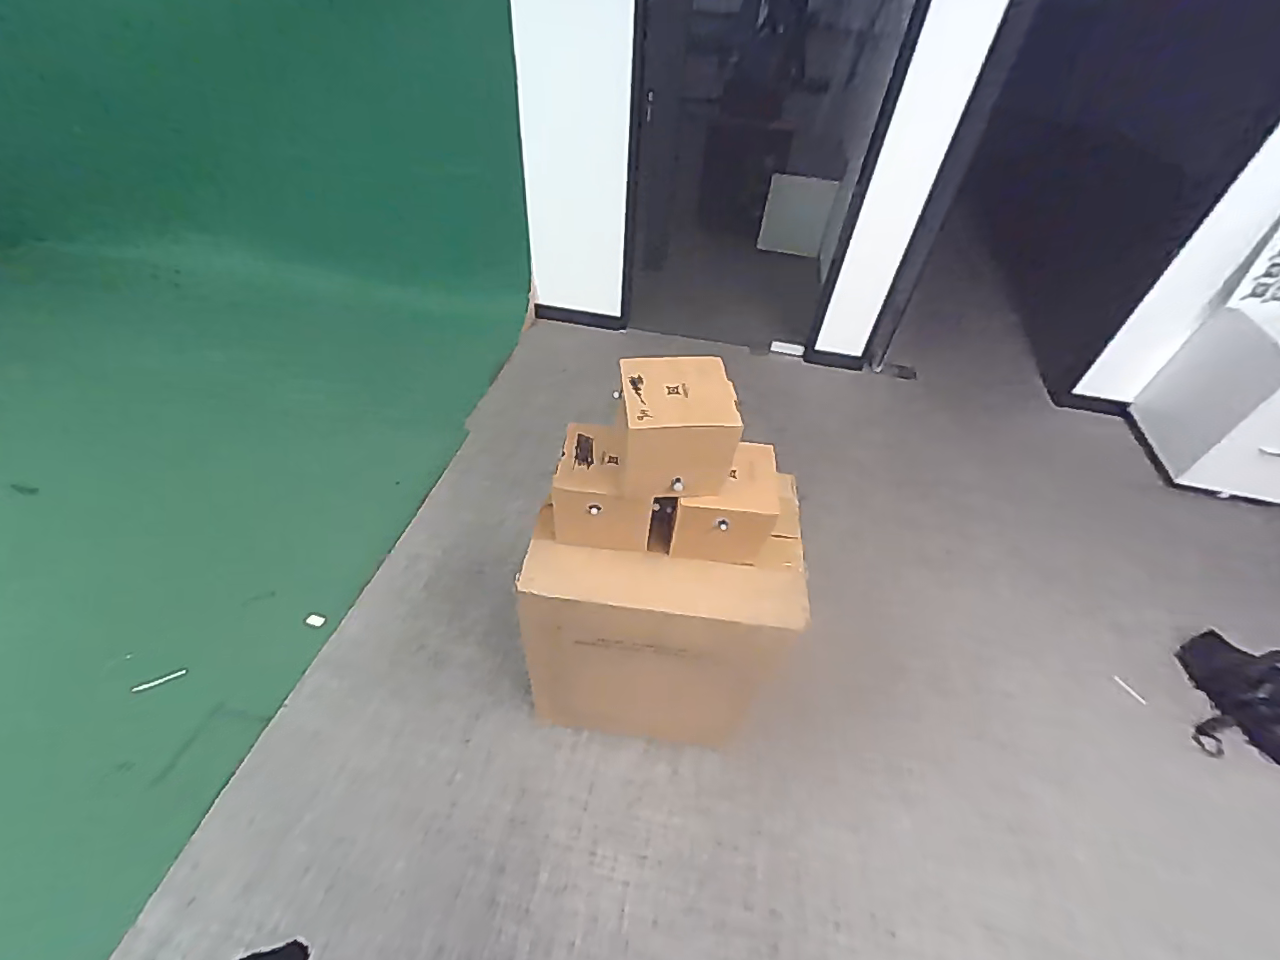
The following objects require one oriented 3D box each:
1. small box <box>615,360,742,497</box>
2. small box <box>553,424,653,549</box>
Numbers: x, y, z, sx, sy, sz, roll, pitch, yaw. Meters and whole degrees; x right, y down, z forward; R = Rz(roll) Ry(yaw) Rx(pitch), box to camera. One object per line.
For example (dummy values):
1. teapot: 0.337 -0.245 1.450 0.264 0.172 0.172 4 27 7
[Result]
1. small box: 0.054 -0.084 0.914 0.179 0.176 0.168 -1 50 -8
2. small box: -0.061 0.016 1.034 0.179 0.176 0.168 7 50 0
